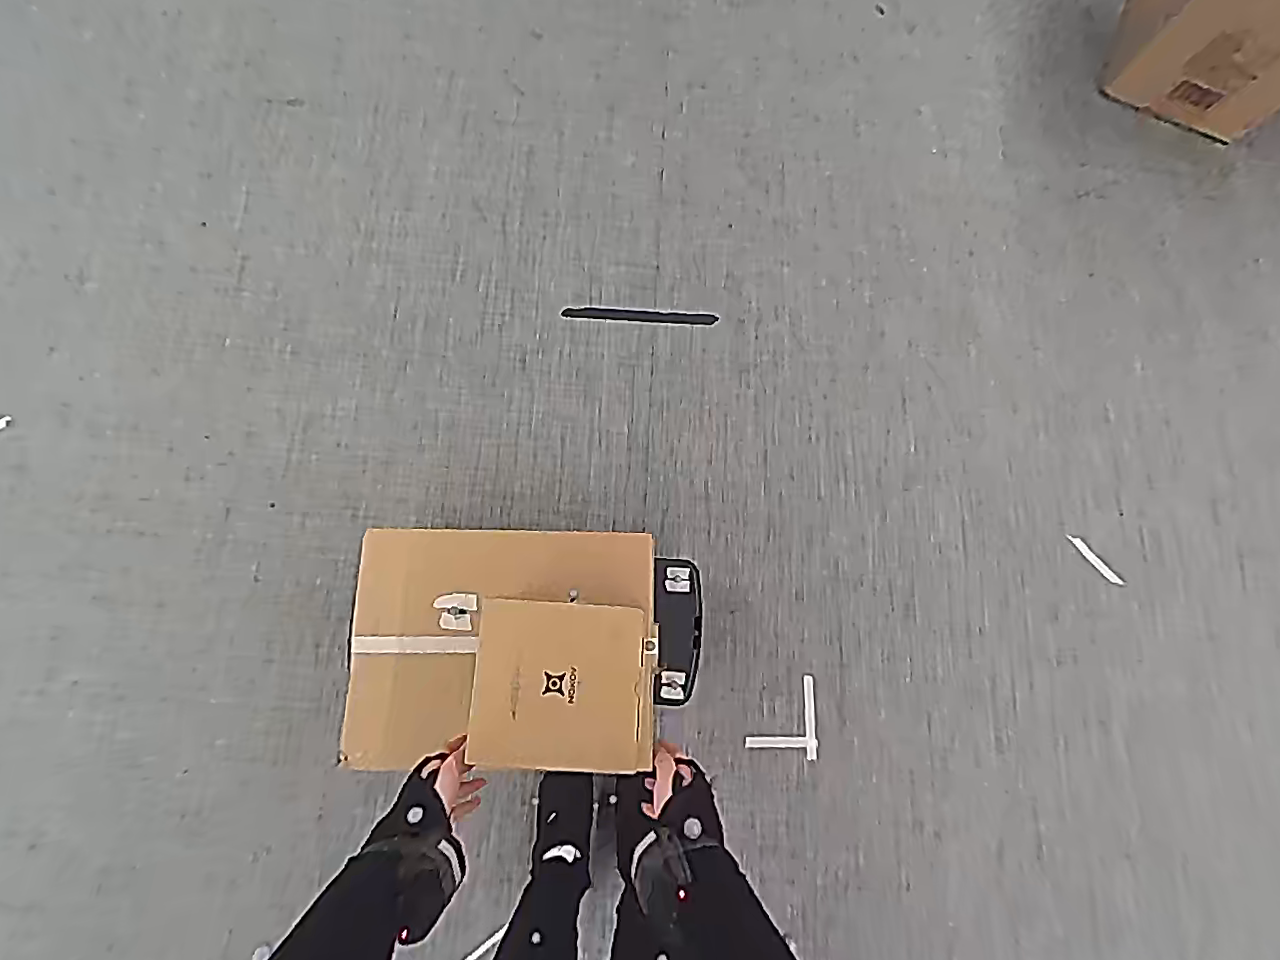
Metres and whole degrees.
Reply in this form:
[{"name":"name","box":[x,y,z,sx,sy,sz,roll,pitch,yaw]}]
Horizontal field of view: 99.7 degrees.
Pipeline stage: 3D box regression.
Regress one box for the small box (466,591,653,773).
[{"name":"small box","box":[-0.082,0.220,0.630,0.179,0.176,0.168,5,78,-1]}]

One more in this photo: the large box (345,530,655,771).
[{"name":"large box","box":[-0.182,0.253,0.870,0.408,0.320,0.320,1,77,-1]}]
